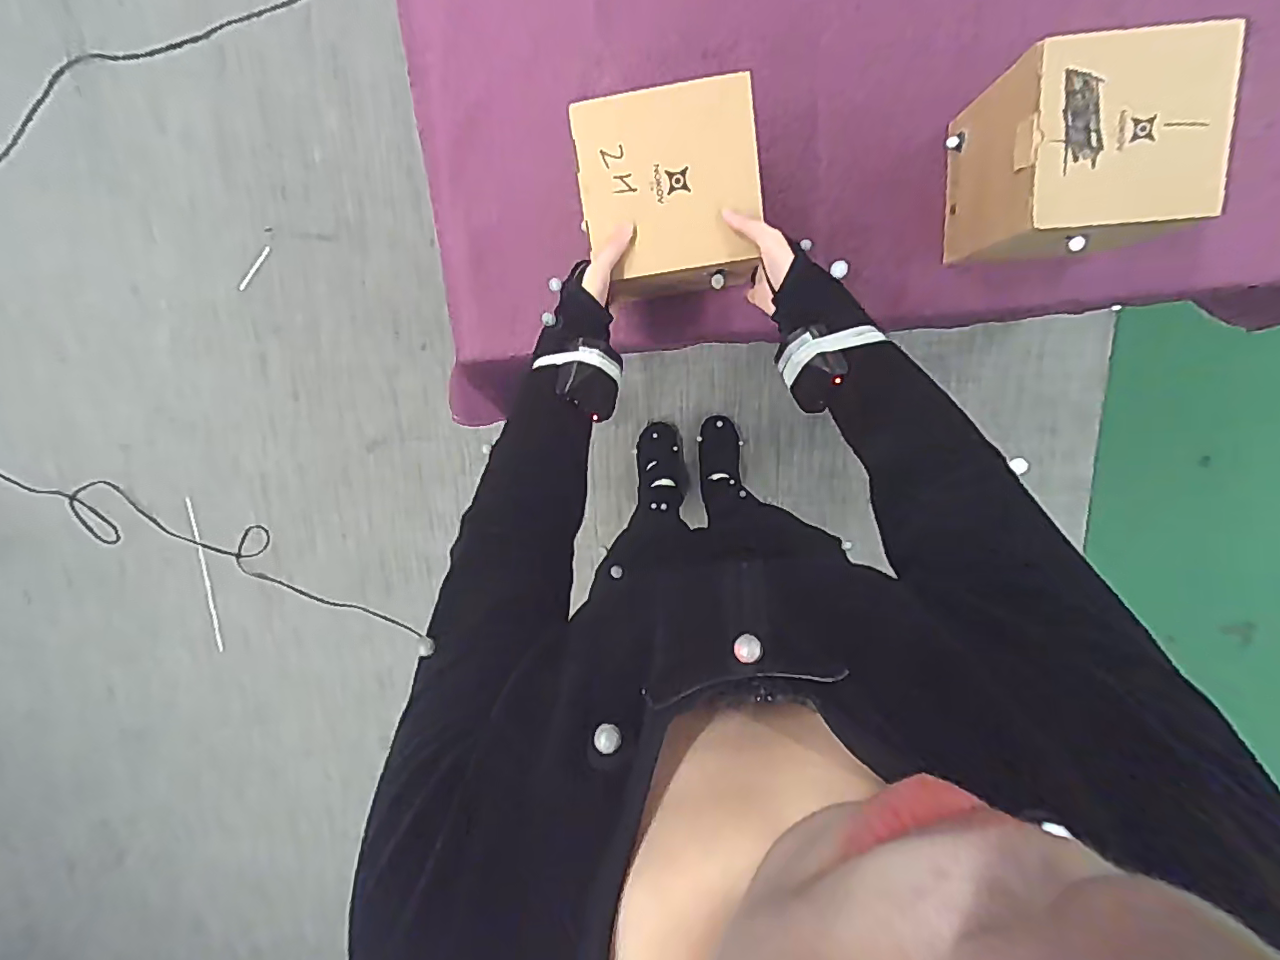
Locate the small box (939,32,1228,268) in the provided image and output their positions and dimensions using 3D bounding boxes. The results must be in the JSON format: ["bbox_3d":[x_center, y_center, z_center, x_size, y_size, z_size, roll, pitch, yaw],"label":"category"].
[{"bbox_3d":[0.449,-0.333,0.582,0.179,0.176,0.168,-3,100,3],"label":"small box"}]

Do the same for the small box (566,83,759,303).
[{"bbox_3d":[0.026,-0.300,0.604,0.179,0.176,0.168,-7,101,4],"label":"small box"}]
